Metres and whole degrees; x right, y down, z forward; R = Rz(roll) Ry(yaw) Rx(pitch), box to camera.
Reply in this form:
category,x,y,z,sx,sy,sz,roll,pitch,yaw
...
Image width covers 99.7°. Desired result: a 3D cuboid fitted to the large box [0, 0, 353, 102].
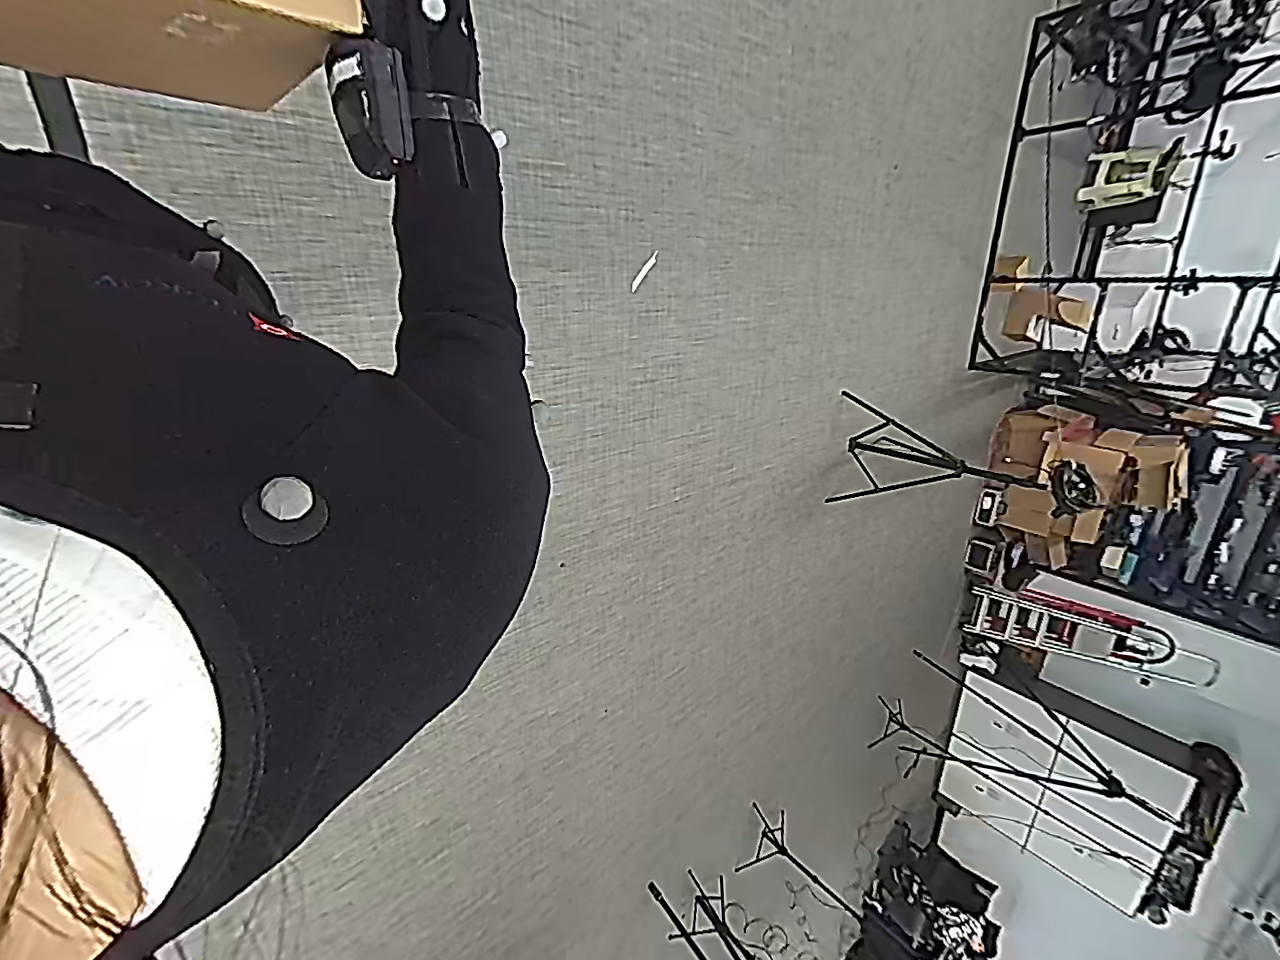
category,x,y,z,sx,sy,sz,roll,pitch,yaw
large box,-0.412,-0.410,0.242,0.408,0.320,0.320,-17,121,-39
